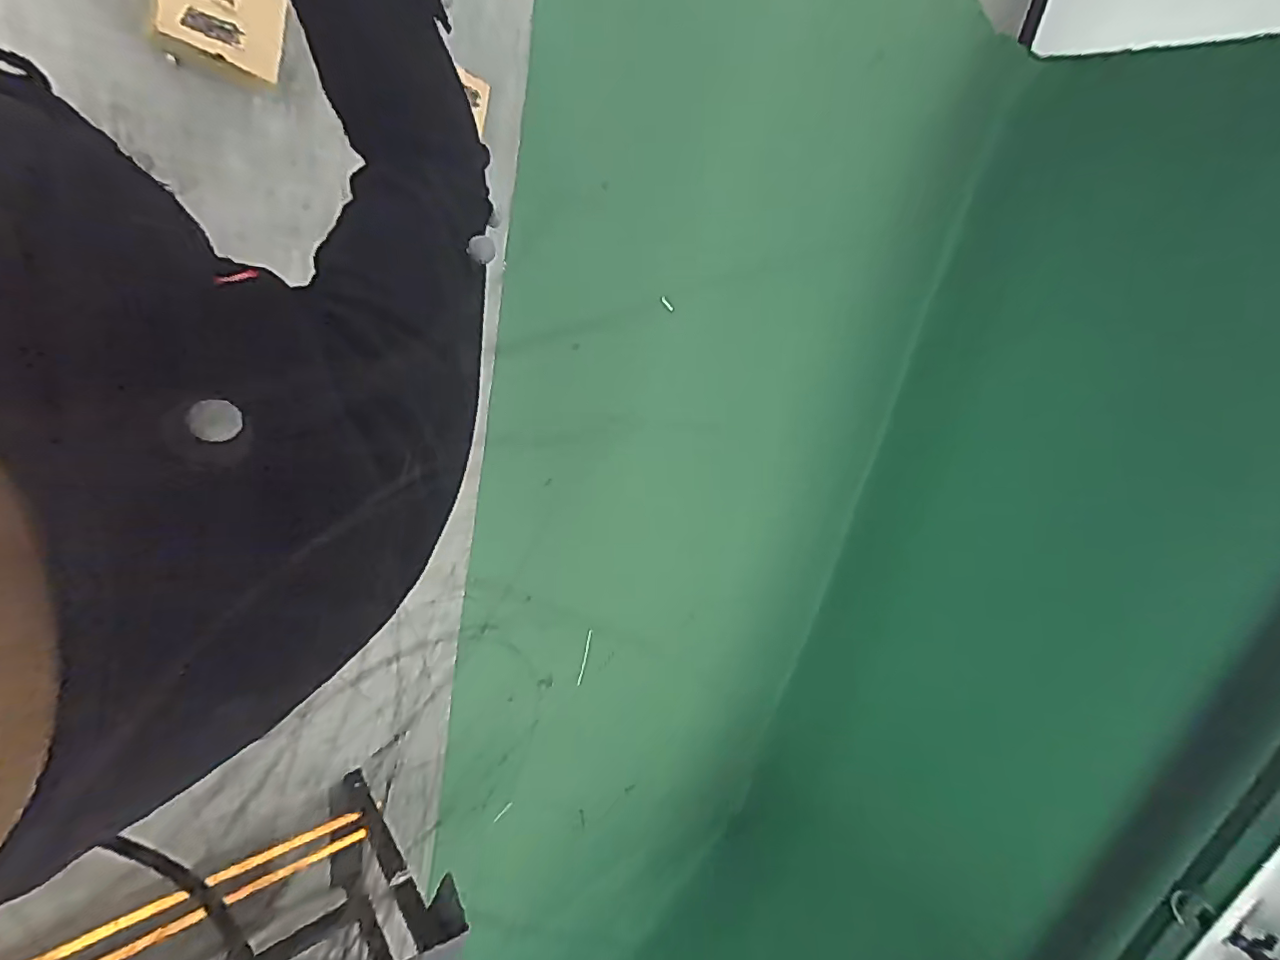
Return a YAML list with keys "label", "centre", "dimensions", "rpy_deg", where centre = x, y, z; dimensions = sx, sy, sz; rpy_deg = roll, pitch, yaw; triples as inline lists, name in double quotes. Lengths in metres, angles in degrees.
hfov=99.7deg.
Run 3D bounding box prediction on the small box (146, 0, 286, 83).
- label: "small box"
  centre: [-0.732, -0.824, 0.933]
  dimensions: [0.168, 0.176, 0.179]
  rpy_deg: [2, 110, -48]
